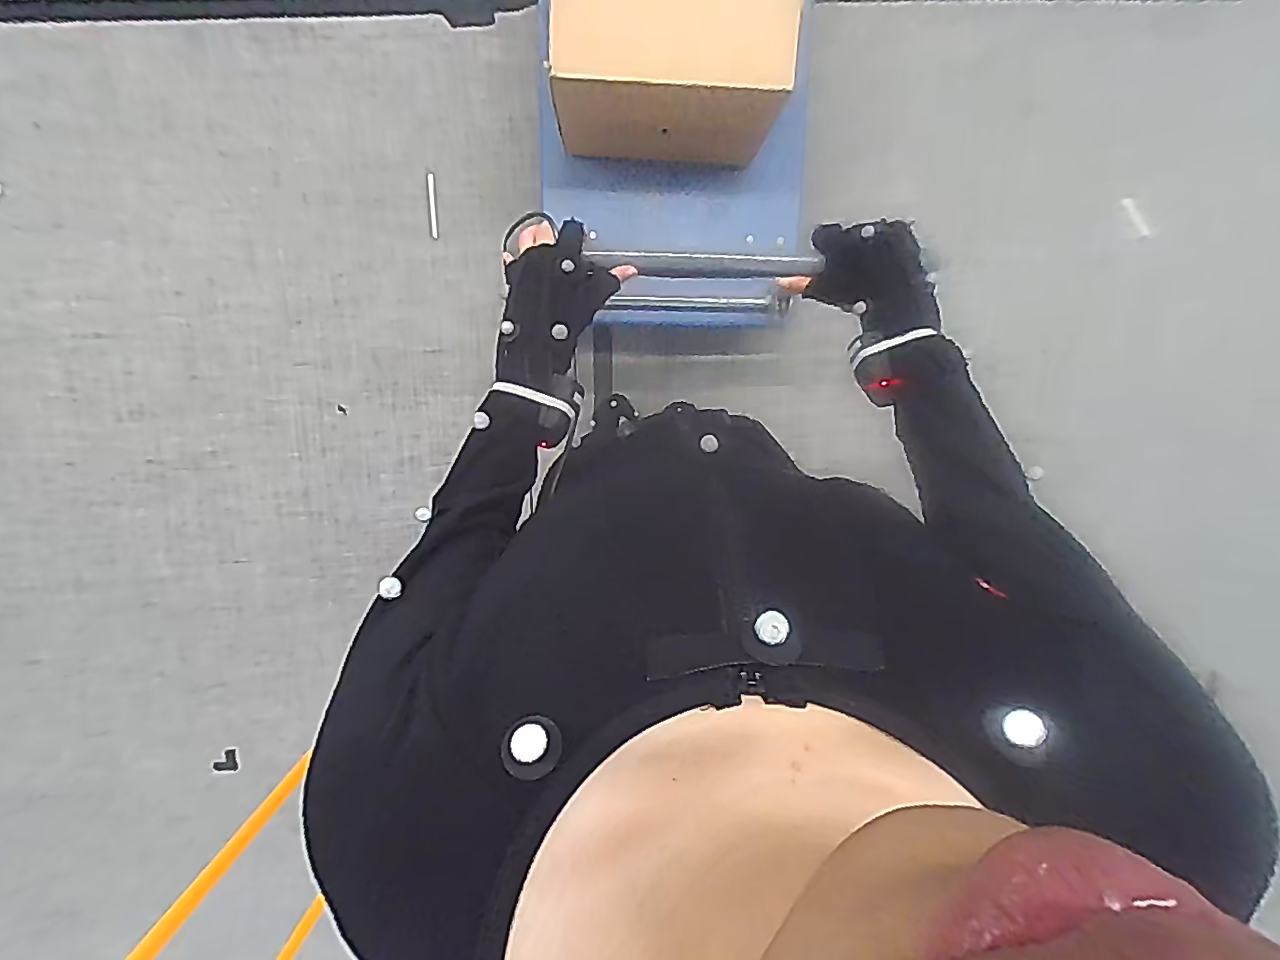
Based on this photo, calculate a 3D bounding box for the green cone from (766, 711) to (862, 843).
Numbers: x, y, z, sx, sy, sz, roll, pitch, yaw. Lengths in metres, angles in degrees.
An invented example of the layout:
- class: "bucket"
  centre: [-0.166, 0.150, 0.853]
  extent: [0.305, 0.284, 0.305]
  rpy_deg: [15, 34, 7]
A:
- class: "green cone"
  centre: [0.493, 0.817, 1.456]
  extent: [0.202, 0.368, 0.200]
  rpy_deg: [2, 100, -4]

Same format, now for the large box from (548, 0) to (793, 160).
- class: "large box"
  centre: [0.048, -0.825, 1.010]
  extent: [0.408, 0.320, 0.320]
  rpy_deg: [1, 100, -2]
